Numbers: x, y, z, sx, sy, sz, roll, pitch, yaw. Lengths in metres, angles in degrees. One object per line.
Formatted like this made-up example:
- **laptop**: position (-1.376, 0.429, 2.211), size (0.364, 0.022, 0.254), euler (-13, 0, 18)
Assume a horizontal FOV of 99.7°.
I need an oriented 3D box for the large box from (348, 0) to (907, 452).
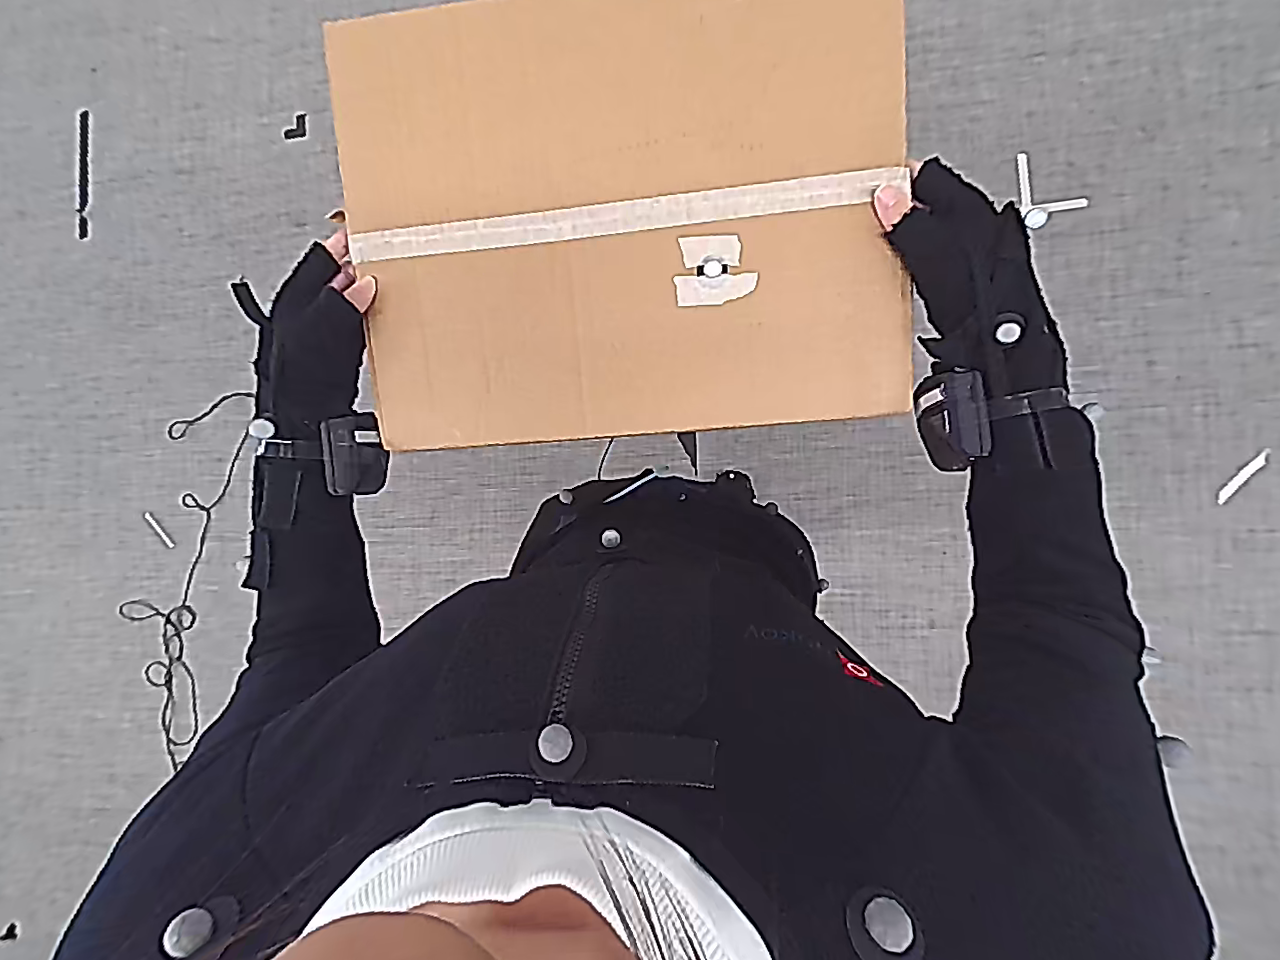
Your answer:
- **large box**: position (0.000, -0.210, 0.552), size (0.408, 0.320, 0.320), euler (-5, 98, 5)
